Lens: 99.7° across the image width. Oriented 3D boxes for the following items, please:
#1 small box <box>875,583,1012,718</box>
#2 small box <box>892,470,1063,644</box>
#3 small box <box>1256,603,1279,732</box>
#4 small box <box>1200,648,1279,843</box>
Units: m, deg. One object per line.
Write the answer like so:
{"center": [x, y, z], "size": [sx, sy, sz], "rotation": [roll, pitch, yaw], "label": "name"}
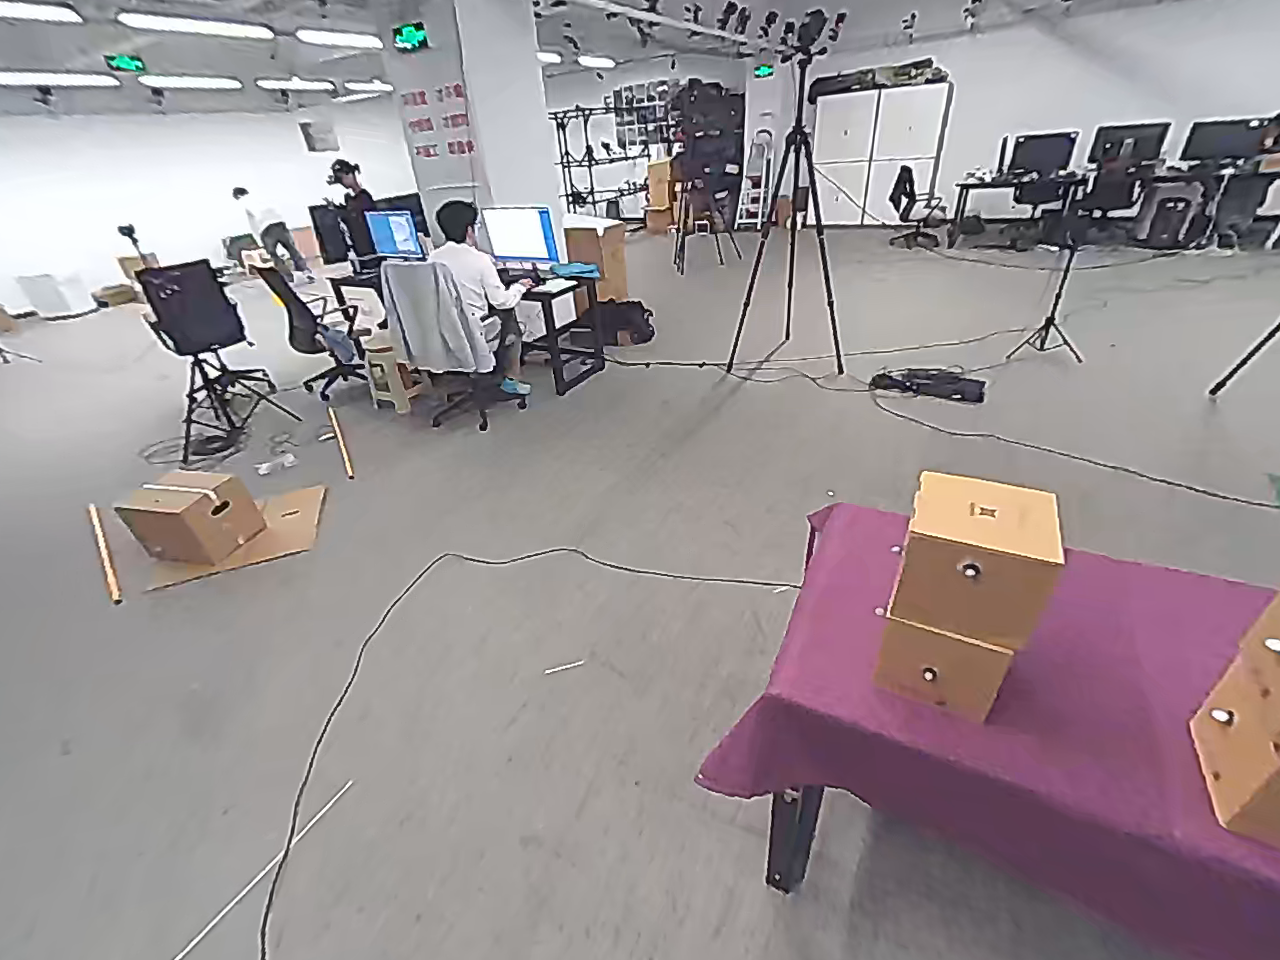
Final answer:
{"center": [0.491, 0.246, 0.879], "size": [0.168, 0.176, 0.179], "rotation": [14, 37, 28], "label": "small box"}
{"center": [0.482, 0.109, 0.789], "size": [0.179, 0.176, 0.168], "rotation": [13, 38, 27], "label": "small box"}
{"center": [0.827, 0.208, 0.581], "size": [0.179, 0.176, 0.168], "rotation": [15, 38, 30], "label": "small box"}
{"center": [0.847, 0.348, 0.665], "size": [0.179, 0.176, 0.168], "rotation": [13, 37, 27], "label": "small box"}
